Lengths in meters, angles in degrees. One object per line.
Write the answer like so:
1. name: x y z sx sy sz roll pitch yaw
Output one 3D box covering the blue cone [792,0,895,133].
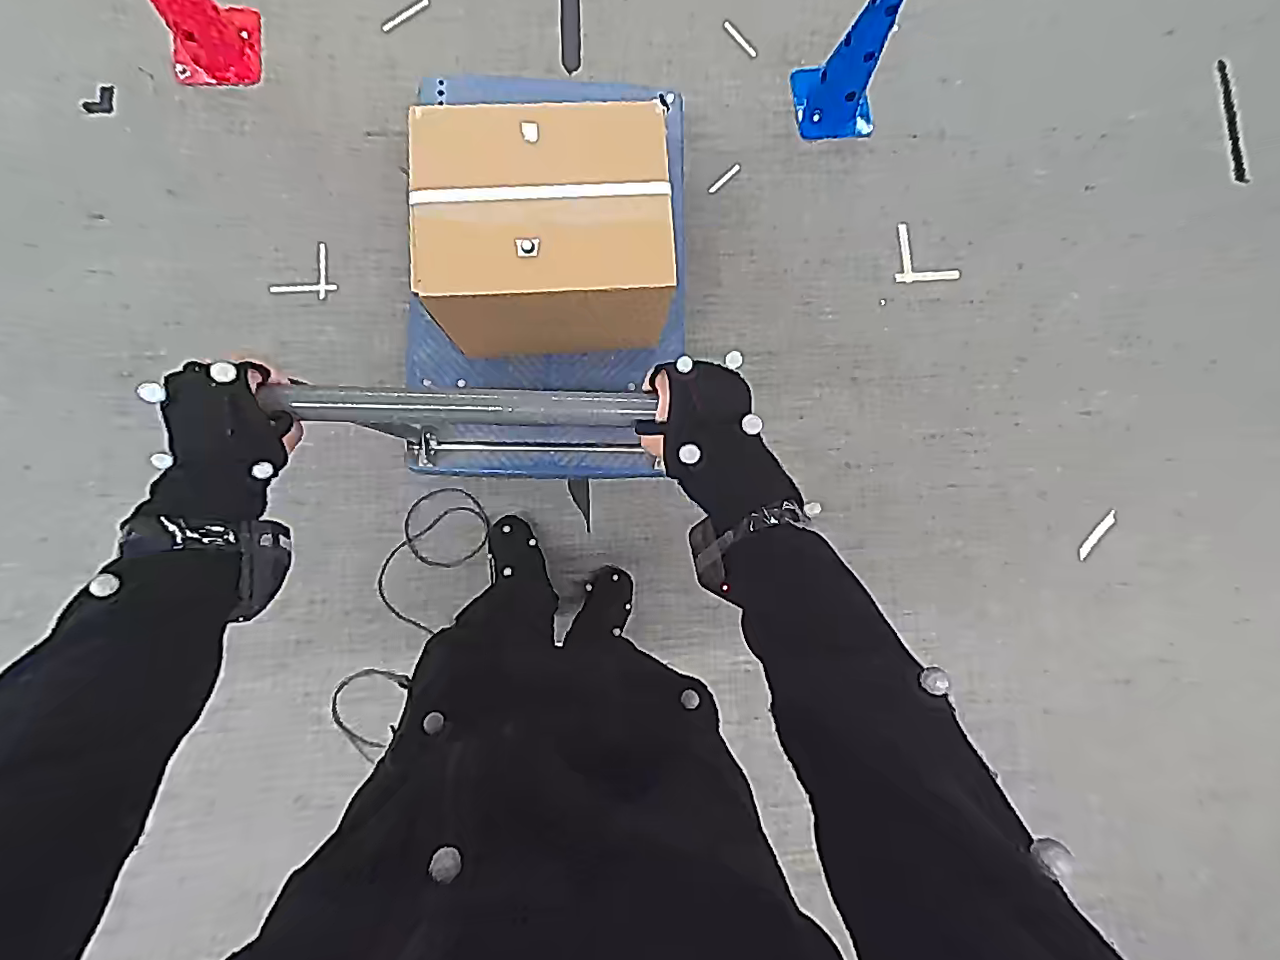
1. blue cone: 0.516 -1.023 1.266 0.193 0.380 0.192 -6 84 -5
